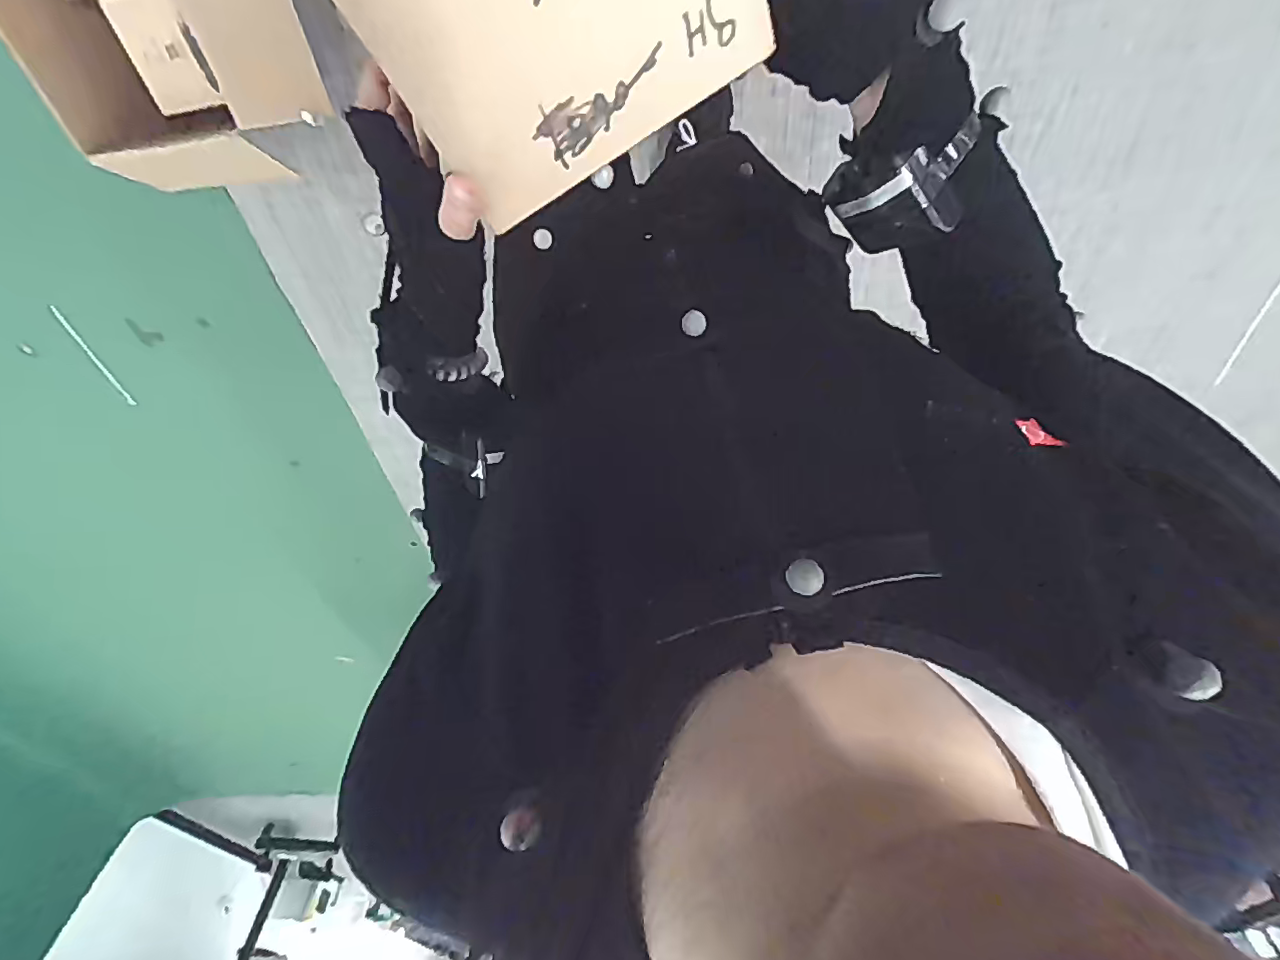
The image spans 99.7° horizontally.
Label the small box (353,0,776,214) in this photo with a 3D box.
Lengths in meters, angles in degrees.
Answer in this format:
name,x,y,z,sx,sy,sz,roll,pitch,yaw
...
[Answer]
name,x,y,z,sx,sy,sz,roll,pitch,yaw
small box,-0.060,-0.276,0.274,0.168,0.176,0.179,-29,131,8
